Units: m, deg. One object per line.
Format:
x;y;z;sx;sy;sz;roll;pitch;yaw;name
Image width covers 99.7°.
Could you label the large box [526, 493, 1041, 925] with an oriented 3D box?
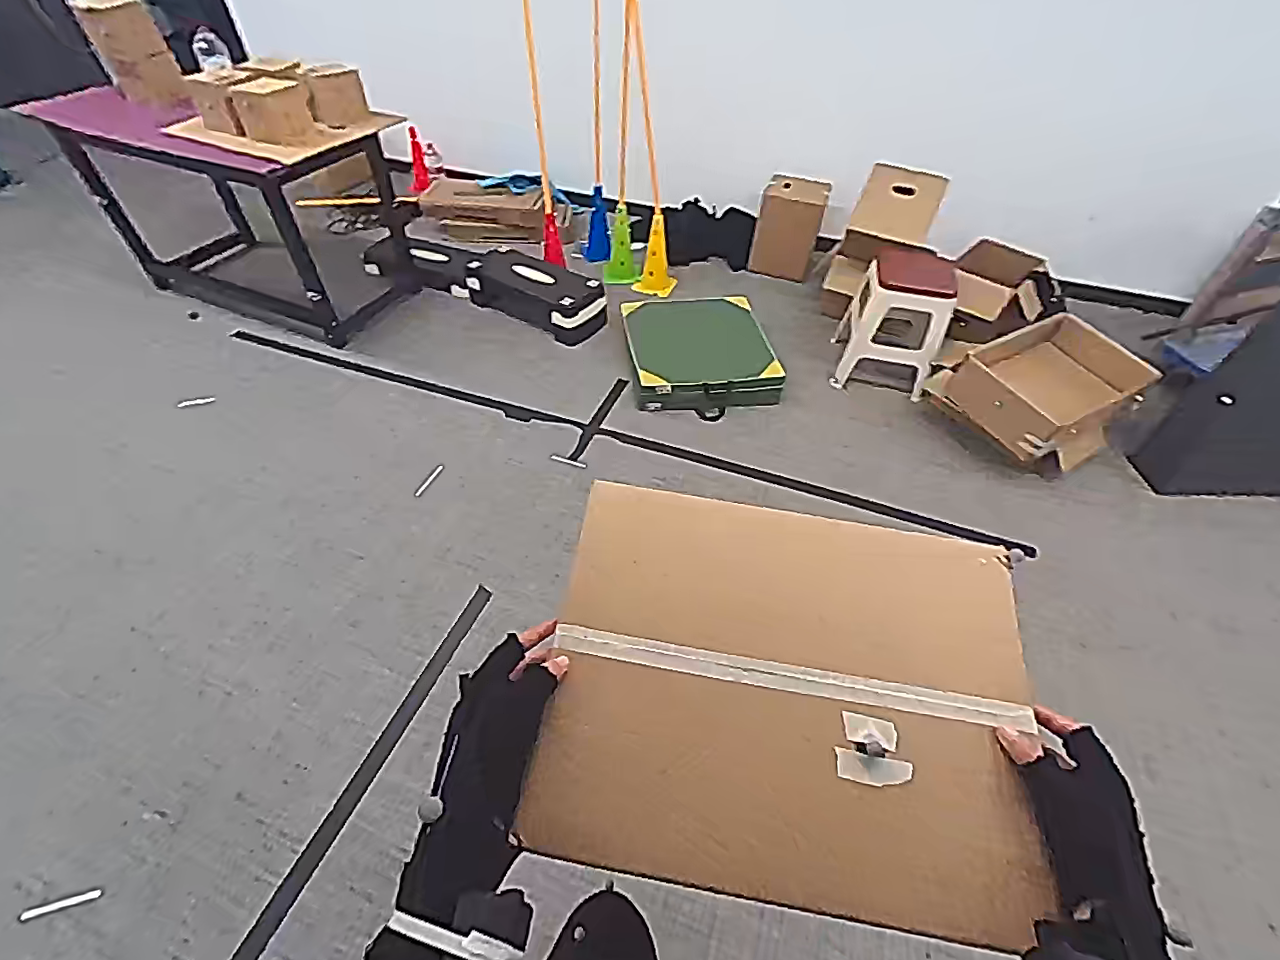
0.121;0.242;0.611;0.408;0.320;0.320;9;63;3;large box
